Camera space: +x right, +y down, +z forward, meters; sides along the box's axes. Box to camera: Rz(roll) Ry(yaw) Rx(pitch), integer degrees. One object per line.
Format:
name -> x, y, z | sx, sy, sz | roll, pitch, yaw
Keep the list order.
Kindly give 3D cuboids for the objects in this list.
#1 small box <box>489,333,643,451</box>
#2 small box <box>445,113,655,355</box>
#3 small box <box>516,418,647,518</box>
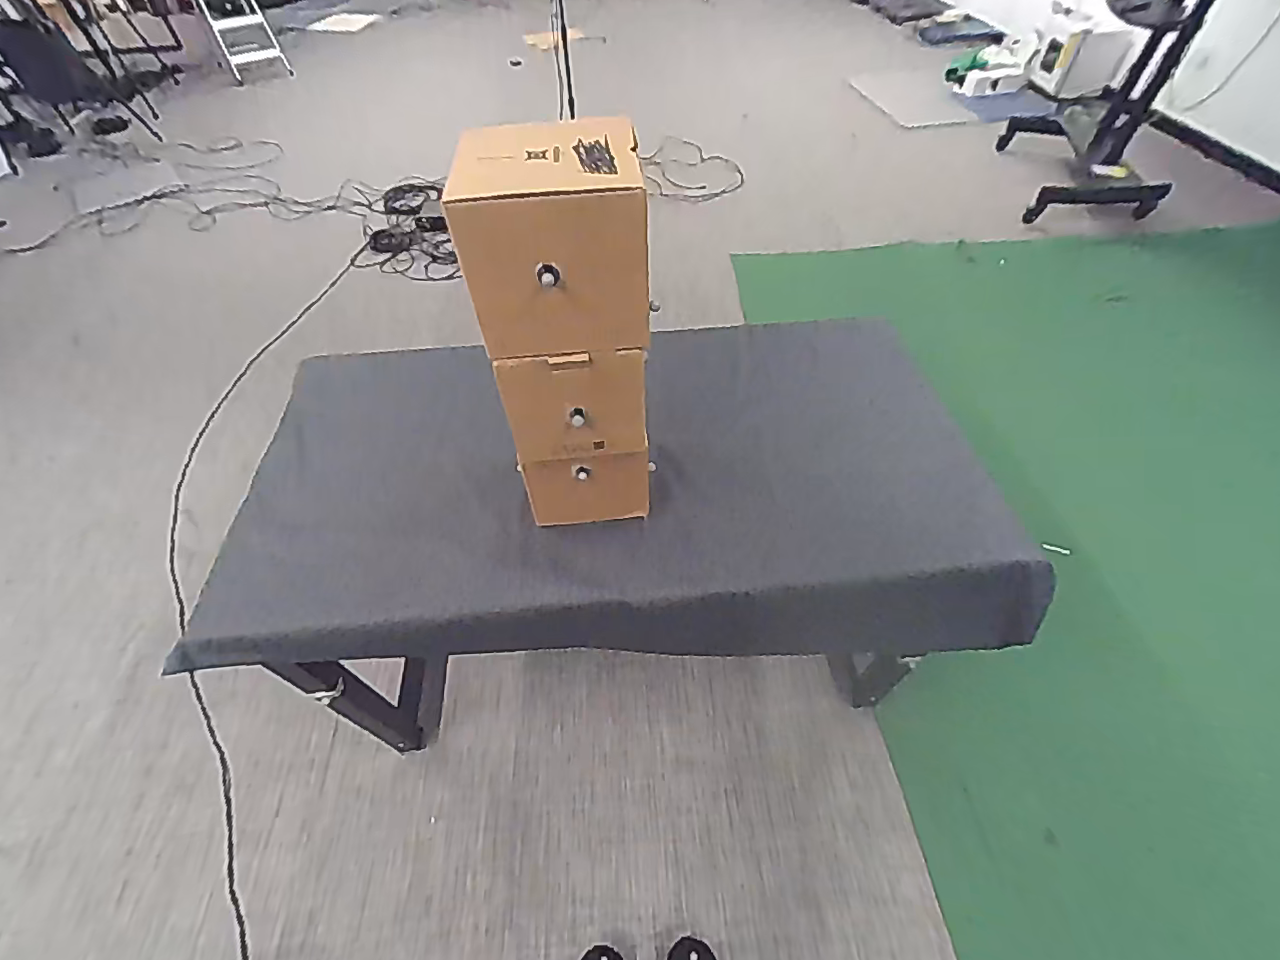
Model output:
small box -> -0.086, -0.151, 0.691 | 0.168, 0.176, 0.179 | -6, 53, -2
small box -> -0.085, -0.249, 0.558 | 0.179, 0.176, 0.168 | -7, 52, -5
small box -> -0.083, -0.054, 0.823 | 0.179, 0.176, 0.168 | -5, 53, -3
